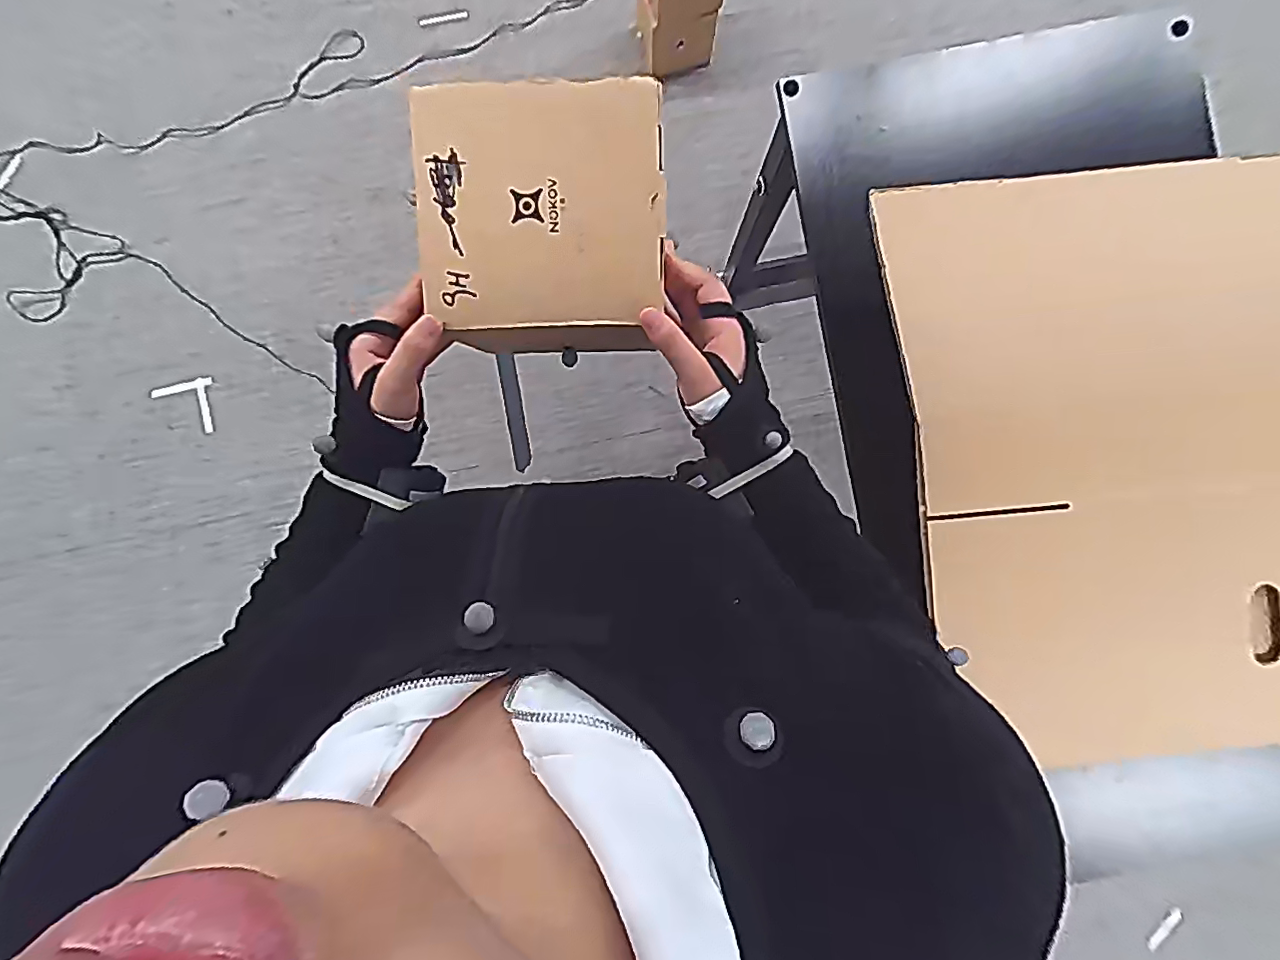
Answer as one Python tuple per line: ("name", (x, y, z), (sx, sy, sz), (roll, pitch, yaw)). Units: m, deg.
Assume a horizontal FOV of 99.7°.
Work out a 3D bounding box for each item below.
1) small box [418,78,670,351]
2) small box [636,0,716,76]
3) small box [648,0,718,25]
("small box", (-0.069, -0.206, 0.465), (0.179, 0.176, 0.168), (-1, 96, -1))
("small box", (0.090, -1.237, 1.449), (0.179, 0.176, 0.168), (-15, 89, 0))
("small box", (0.096, -1.242, 1.286), (0.179, 0.176, 0.168), (-17, 90, -1))
